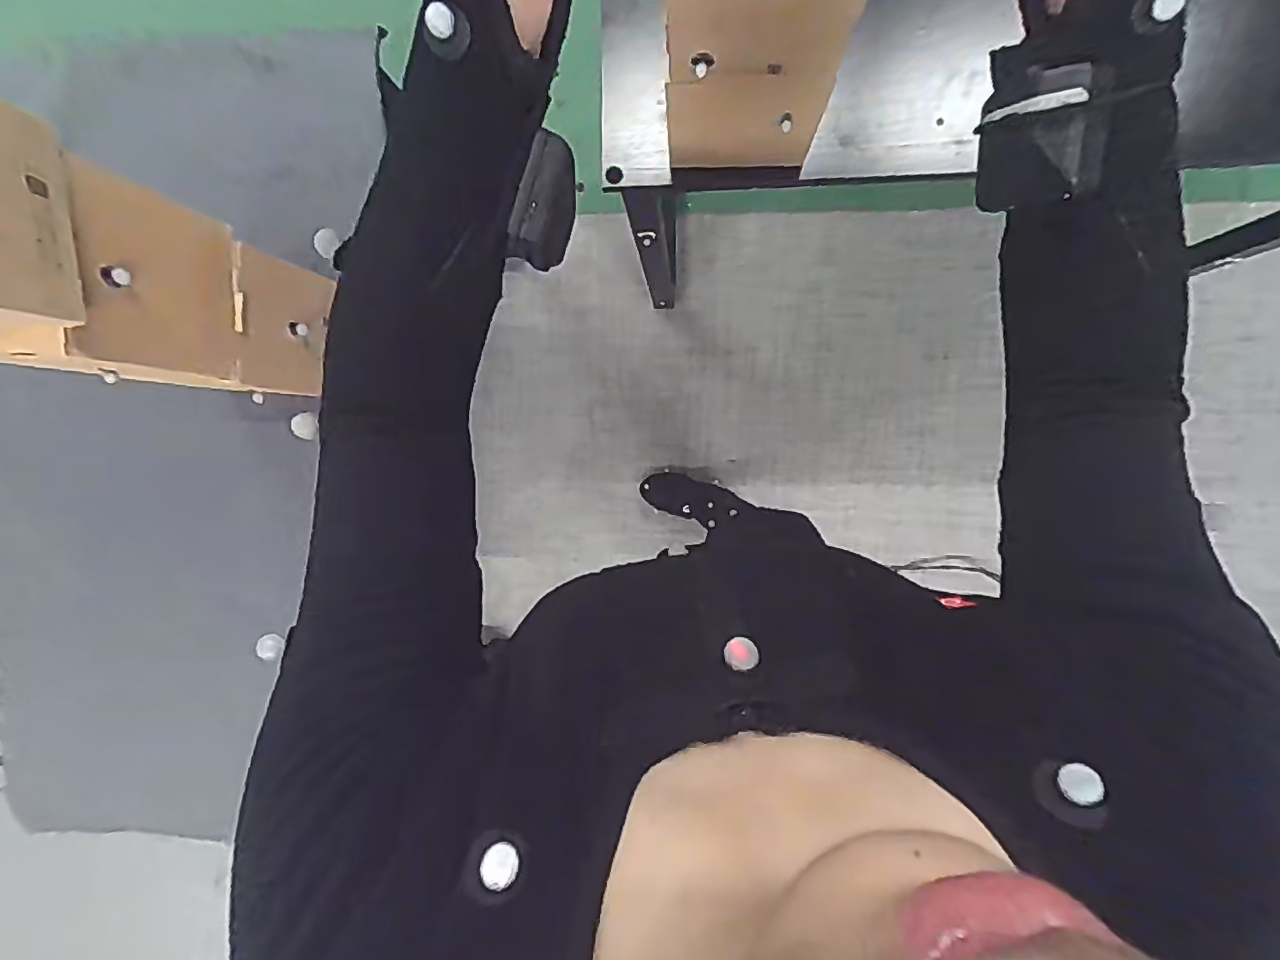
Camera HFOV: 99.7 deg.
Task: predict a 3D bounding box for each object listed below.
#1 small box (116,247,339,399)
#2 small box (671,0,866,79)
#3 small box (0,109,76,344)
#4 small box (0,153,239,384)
[{"bbox_3d":[-0.524,-0.197,0.706,0.179,0.176,0.168,5,95,7],"label":"small box"},{"bbox_3d":[0.114,-0.477,0.454,0.168,0.176,0.179,4,93,4],"label":"small box"},{"bbox_3d":[-0.557,-0.192,0.379,0.179,0.176,0.168,-5,93,8],"label":"small box"},{"bbox_3d":[-0.545,-0.196,0.544,0.168,0.176,0.179,3,95,7],"label":"small box"}]
